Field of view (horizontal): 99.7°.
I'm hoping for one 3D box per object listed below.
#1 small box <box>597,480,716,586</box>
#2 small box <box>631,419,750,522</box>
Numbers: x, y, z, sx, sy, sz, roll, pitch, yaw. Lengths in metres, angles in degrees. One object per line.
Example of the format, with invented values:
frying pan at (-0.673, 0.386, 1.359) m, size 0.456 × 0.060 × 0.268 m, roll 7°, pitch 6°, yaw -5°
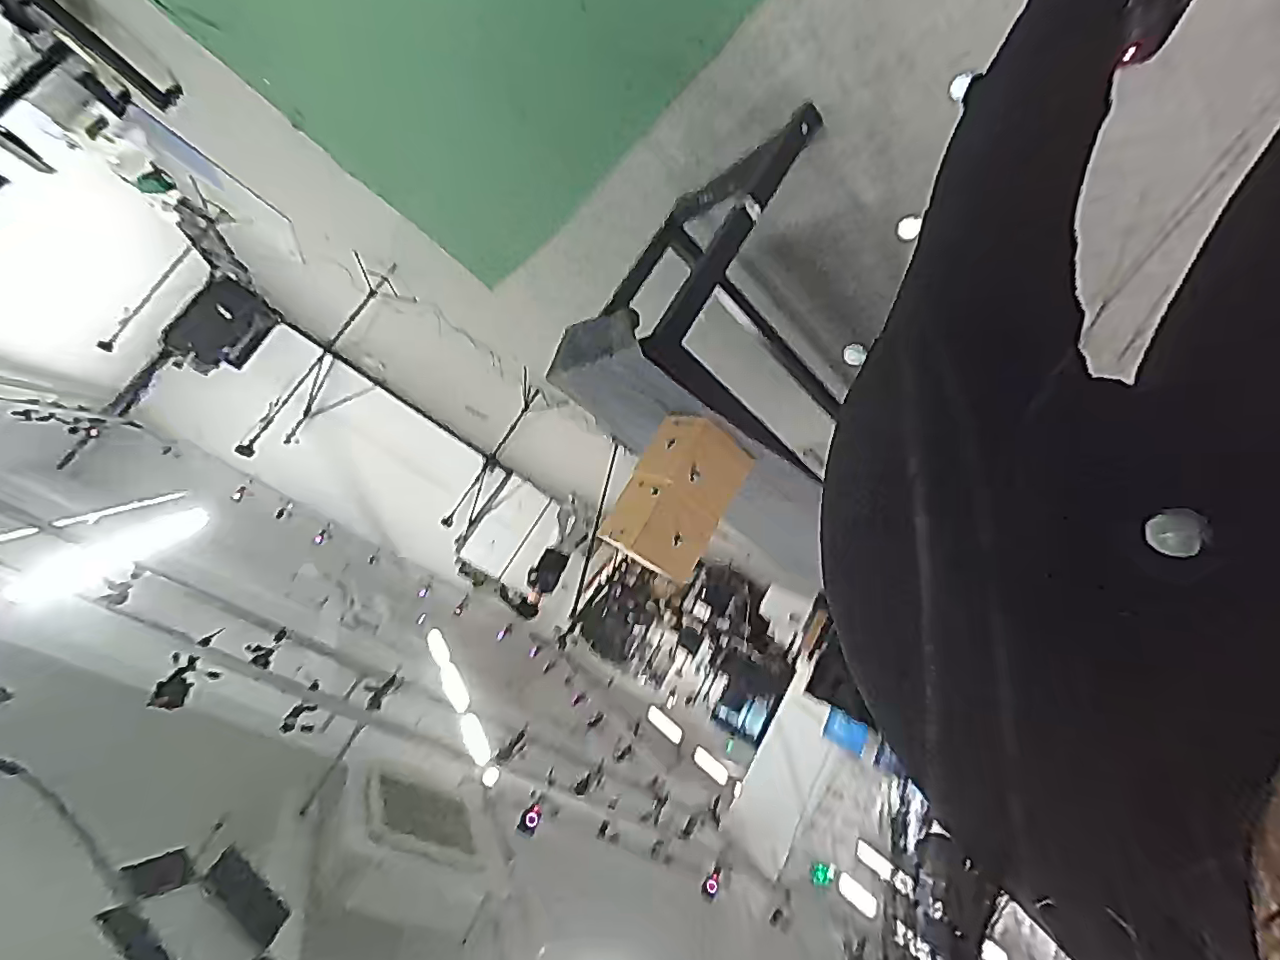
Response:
small box at (0.039, 0.115, 1.242) m, size 0.179 × 0.176 × 0.168 m, roll 36°, pitch 168°, yaw -29°
small box at (0.119, -0.028, 1.258) m, size 0.179 × 0.176 × 0.168 m, roll 38°, pitch 167°, yaw -30°
